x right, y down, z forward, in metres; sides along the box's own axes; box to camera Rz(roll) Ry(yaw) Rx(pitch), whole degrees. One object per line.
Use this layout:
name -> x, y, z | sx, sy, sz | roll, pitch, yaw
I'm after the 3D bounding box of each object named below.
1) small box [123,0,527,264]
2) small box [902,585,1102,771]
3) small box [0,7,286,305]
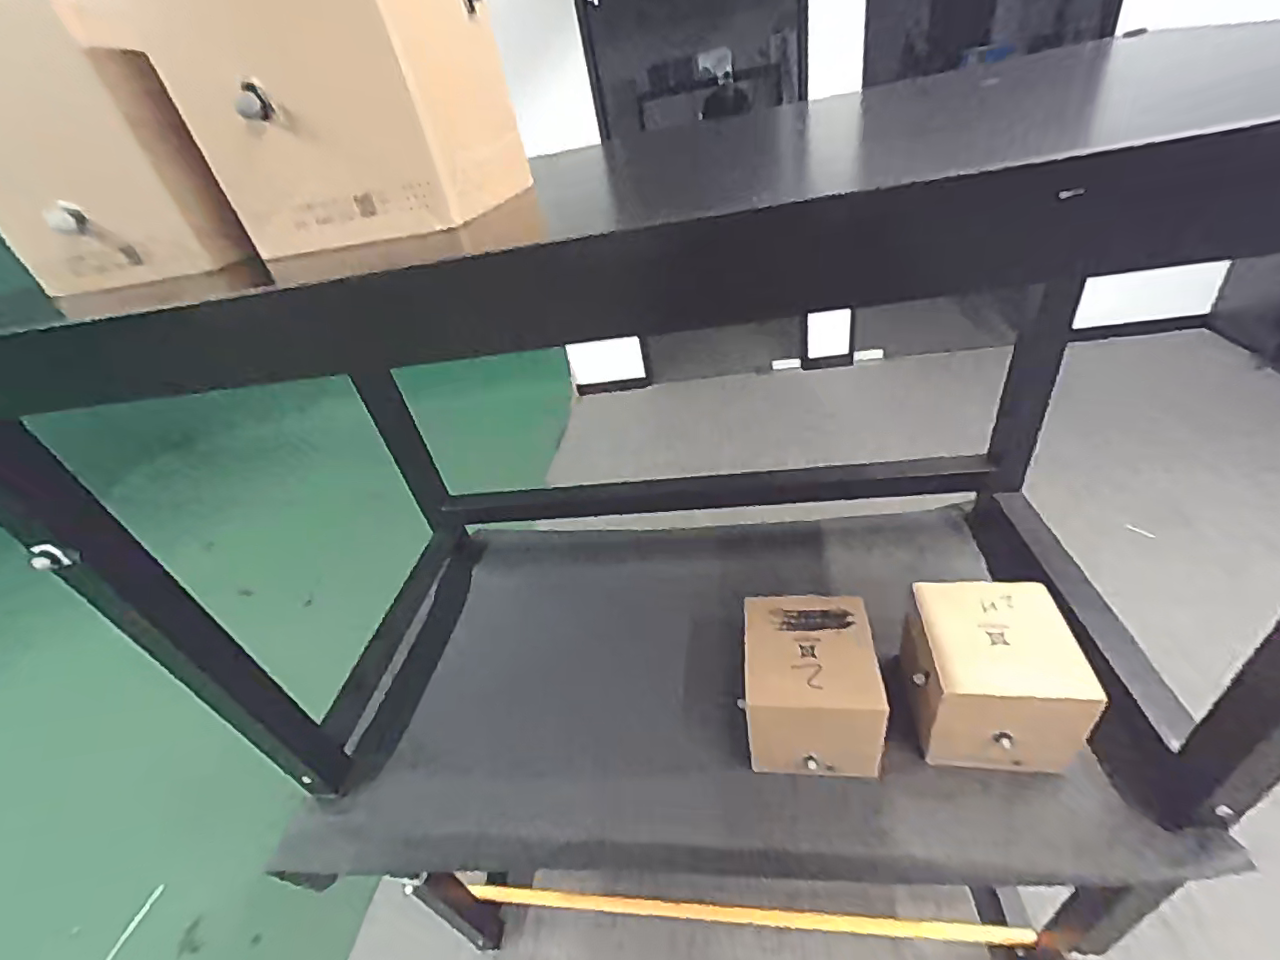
small box -> -0.205, -0.276, 0.416 | 0.168, 0.176, 0.179 | -3, 36, 13
small box -> 0.462, 0.262, 0.724 | 0.168, 0.176, 0.179 | -2, 36, 14
small box -> -0.398, -0.261, 0.450 | 0.168, 0.176, 0.179 | -4, 37, 12
